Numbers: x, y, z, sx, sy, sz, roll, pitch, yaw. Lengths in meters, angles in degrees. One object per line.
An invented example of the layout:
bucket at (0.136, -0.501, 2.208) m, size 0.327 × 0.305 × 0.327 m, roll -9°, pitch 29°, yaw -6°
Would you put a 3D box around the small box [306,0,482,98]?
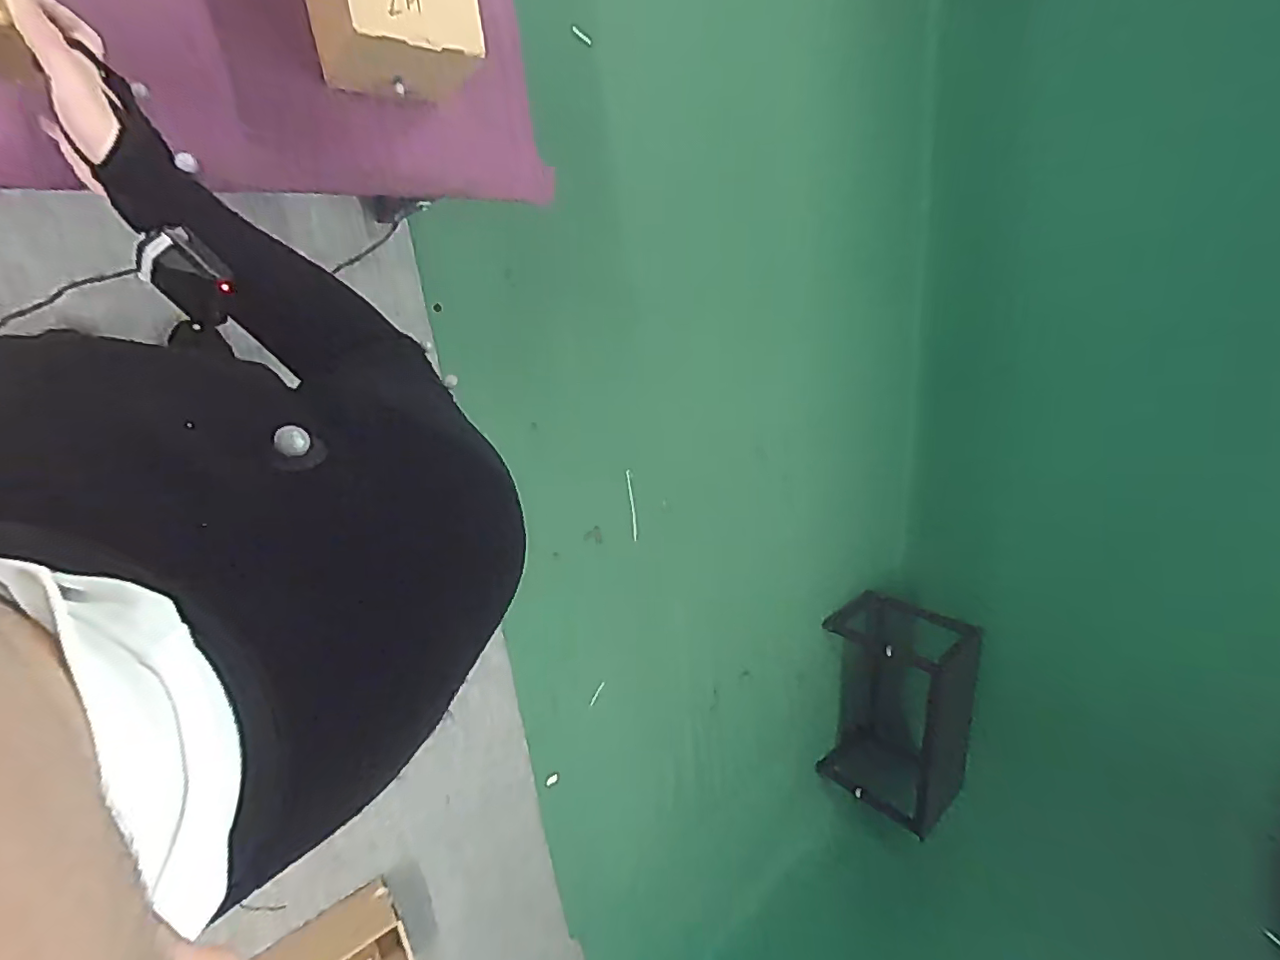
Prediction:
small box at (-0.328, -0.634, 0.698) m, size 0.168 × 0.176 × 0.179 m, roll -19°, pitch 112°, yaw -35°
